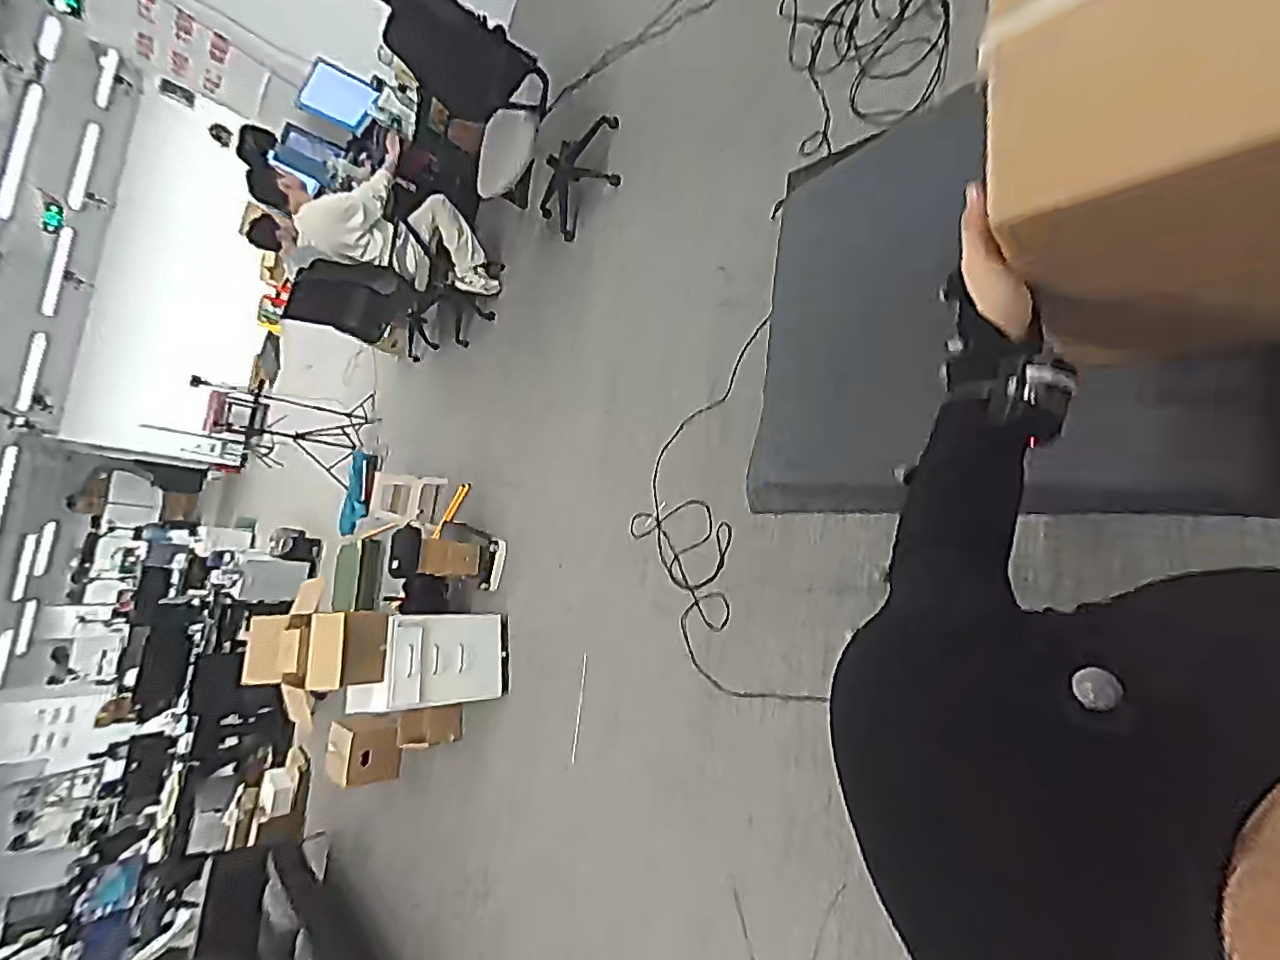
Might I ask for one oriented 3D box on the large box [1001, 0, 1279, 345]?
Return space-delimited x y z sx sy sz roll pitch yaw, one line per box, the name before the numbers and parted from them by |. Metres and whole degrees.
large box | 0.517 -0.328 0.371 0.408 0.320 0.320 -3 77 46
